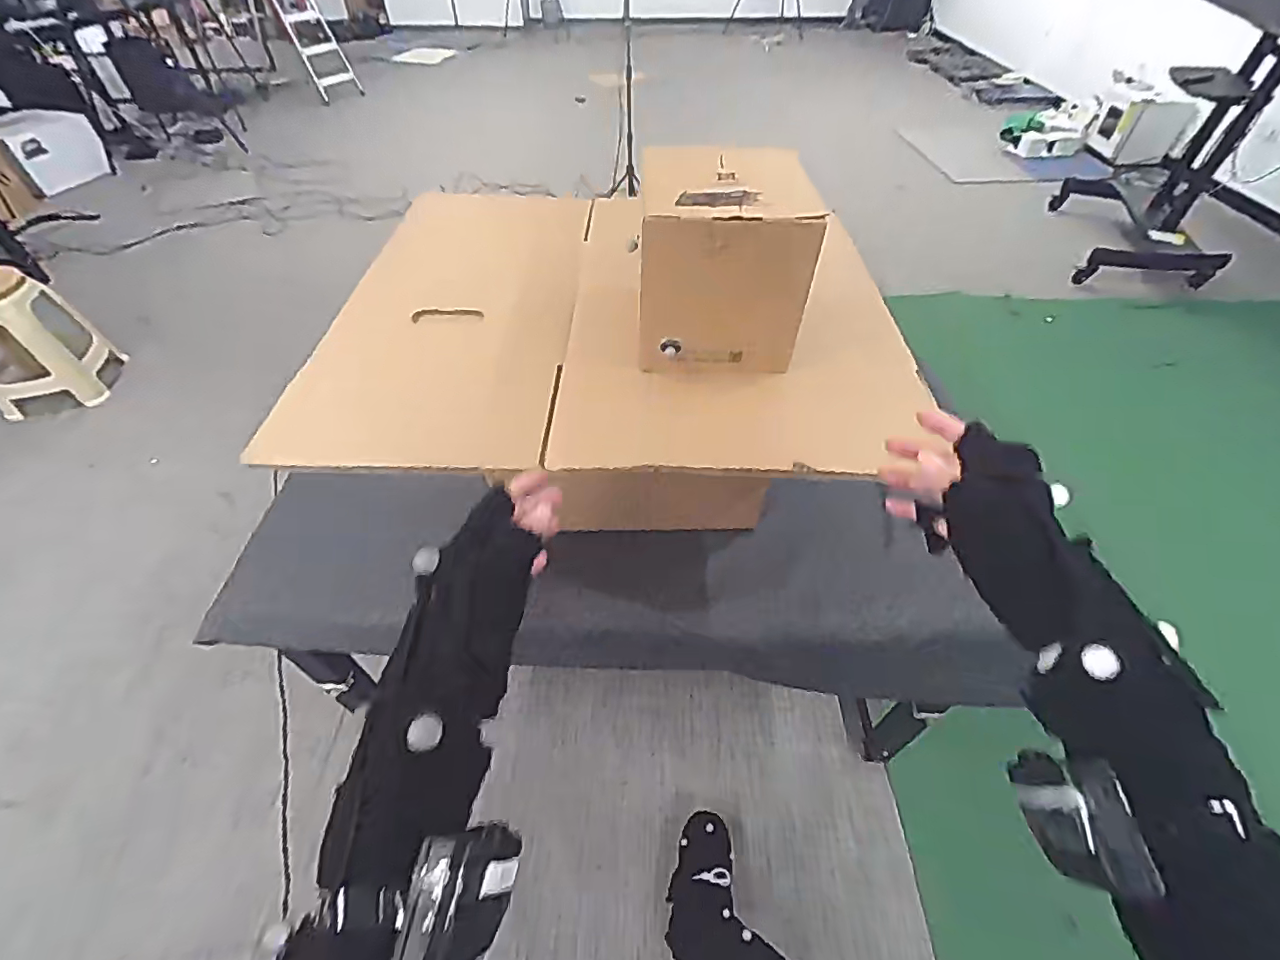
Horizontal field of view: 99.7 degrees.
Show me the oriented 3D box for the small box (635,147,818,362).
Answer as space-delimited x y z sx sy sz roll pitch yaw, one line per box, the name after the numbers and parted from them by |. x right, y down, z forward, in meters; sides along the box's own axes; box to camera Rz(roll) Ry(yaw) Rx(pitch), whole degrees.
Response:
0.079 -0.245 0.595 0.168 0.176 0.179 1 48 -1 | small box
